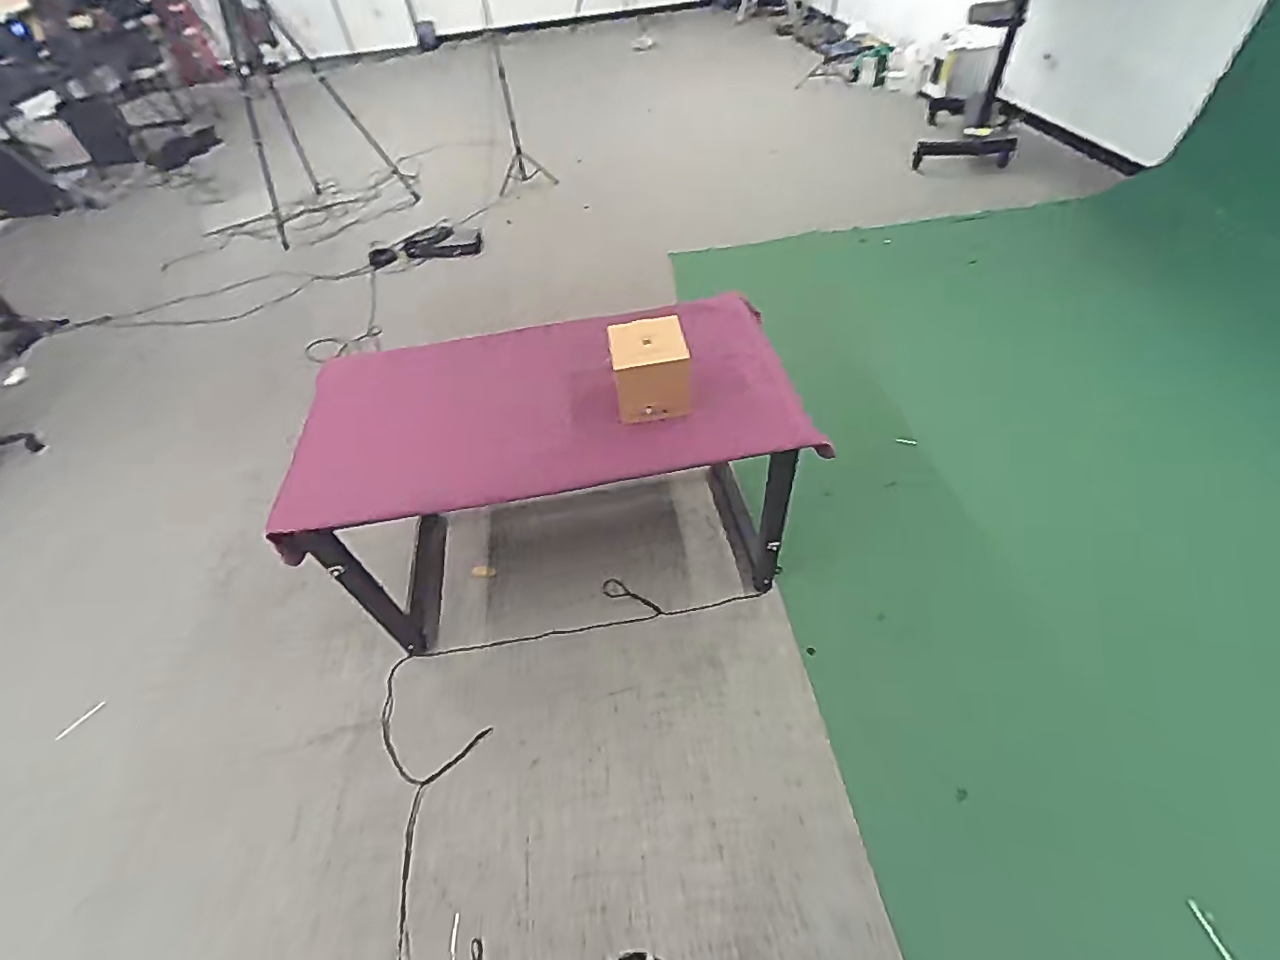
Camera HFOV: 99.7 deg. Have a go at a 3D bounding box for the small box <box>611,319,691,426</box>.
[{"bbox_3d":[0.025,-0.253,1.275,0.168,0.176,0.179,-9,48,0],"label":"small box"}]
